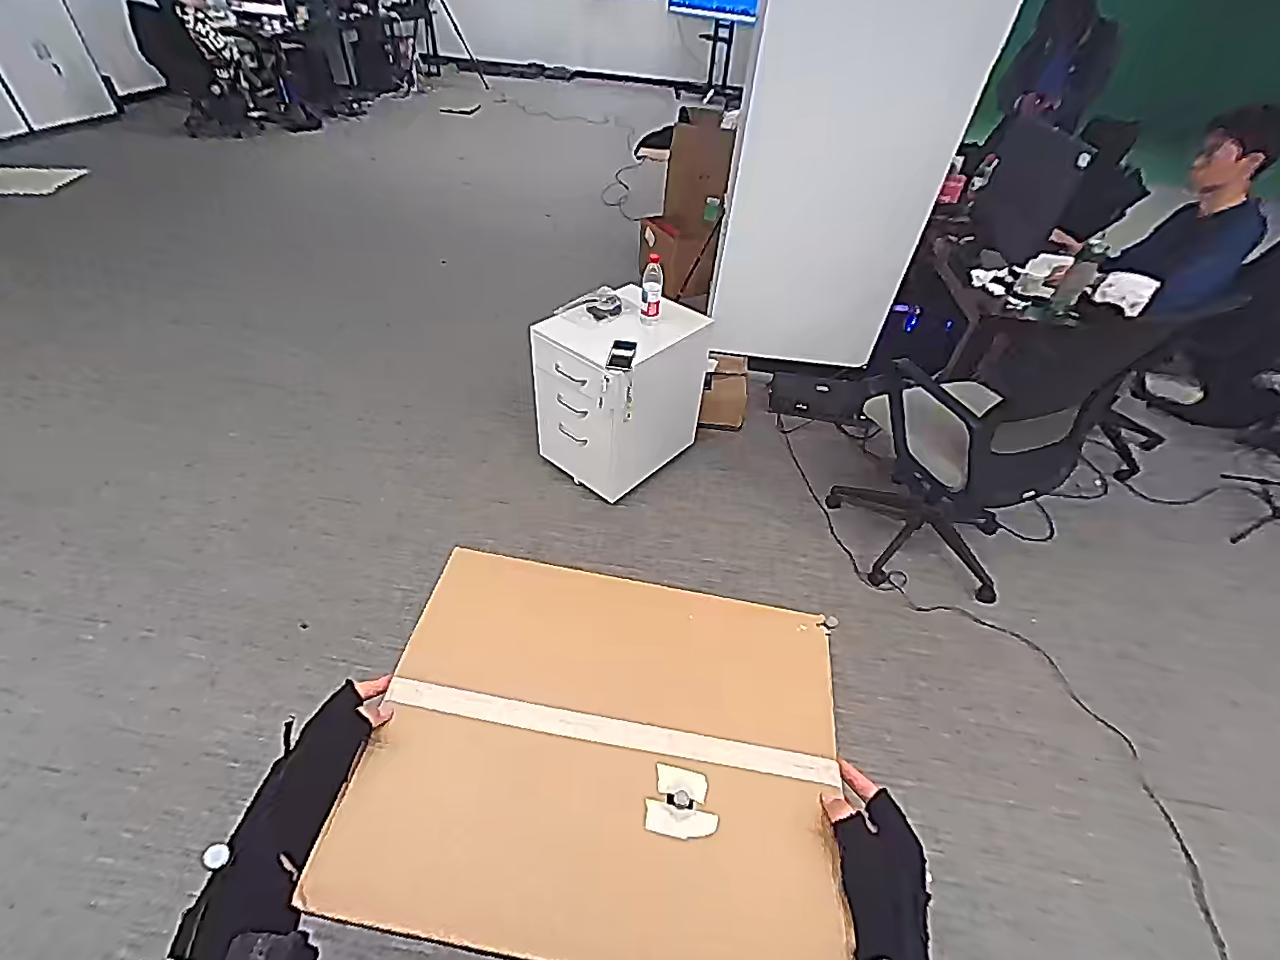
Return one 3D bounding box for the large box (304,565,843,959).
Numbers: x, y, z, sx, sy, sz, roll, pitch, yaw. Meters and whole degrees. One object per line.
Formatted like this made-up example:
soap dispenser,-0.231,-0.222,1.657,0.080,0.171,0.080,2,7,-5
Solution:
large box,-0.045,0.334,0.593,0.408,0.320,0.320,11,49,1
